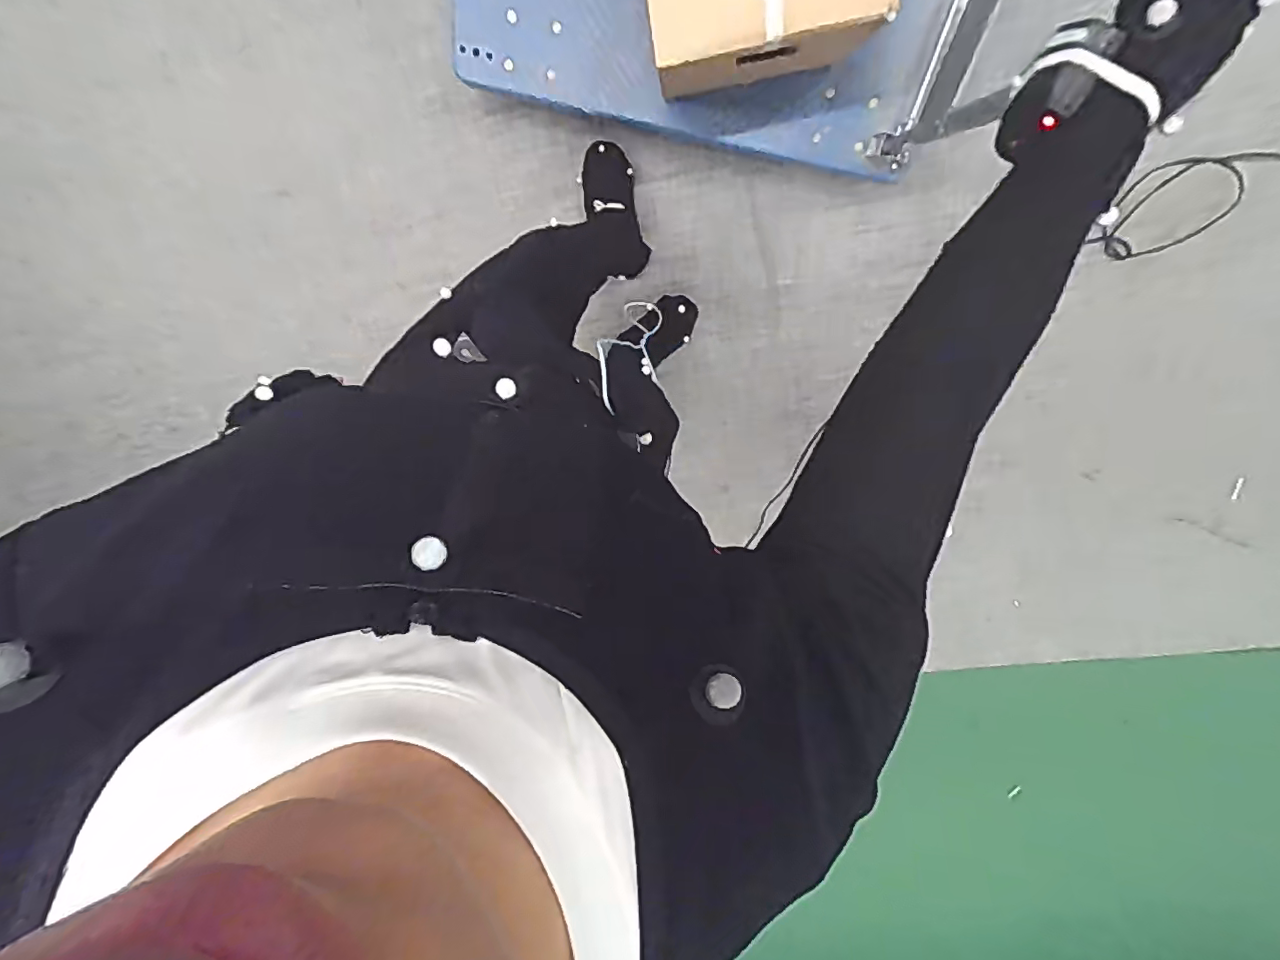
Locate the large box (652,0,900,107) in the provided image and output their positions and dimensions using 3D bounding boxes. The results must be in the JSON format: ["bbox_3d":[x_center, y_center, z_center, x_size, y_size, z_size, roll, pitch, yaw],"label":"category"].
[{"bbox_3d":[0.156,-0.811,0.761,0.320,0.320,0.408,-7,118,9],"label":"large box"}]
